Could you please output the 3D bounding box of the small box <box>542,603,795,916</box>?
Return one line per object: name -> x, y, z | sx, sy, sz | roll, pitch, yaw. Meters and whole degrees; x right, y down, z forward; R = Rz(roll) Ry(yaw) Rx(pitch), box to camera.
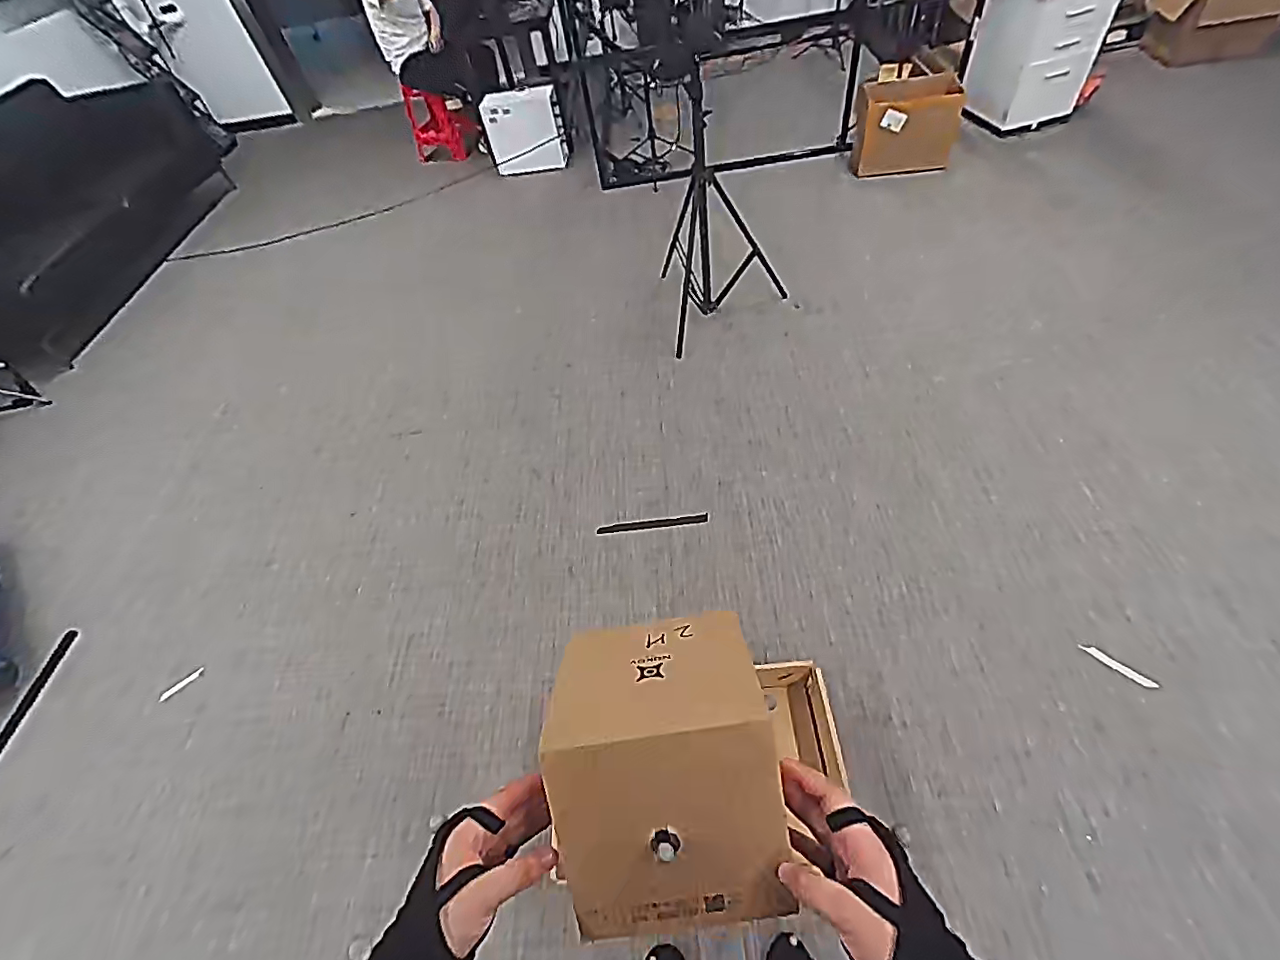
small box -> 0.026, 0.231, 0.465 | 0.168, 0.176, 0.179 | -9, 13, 2
